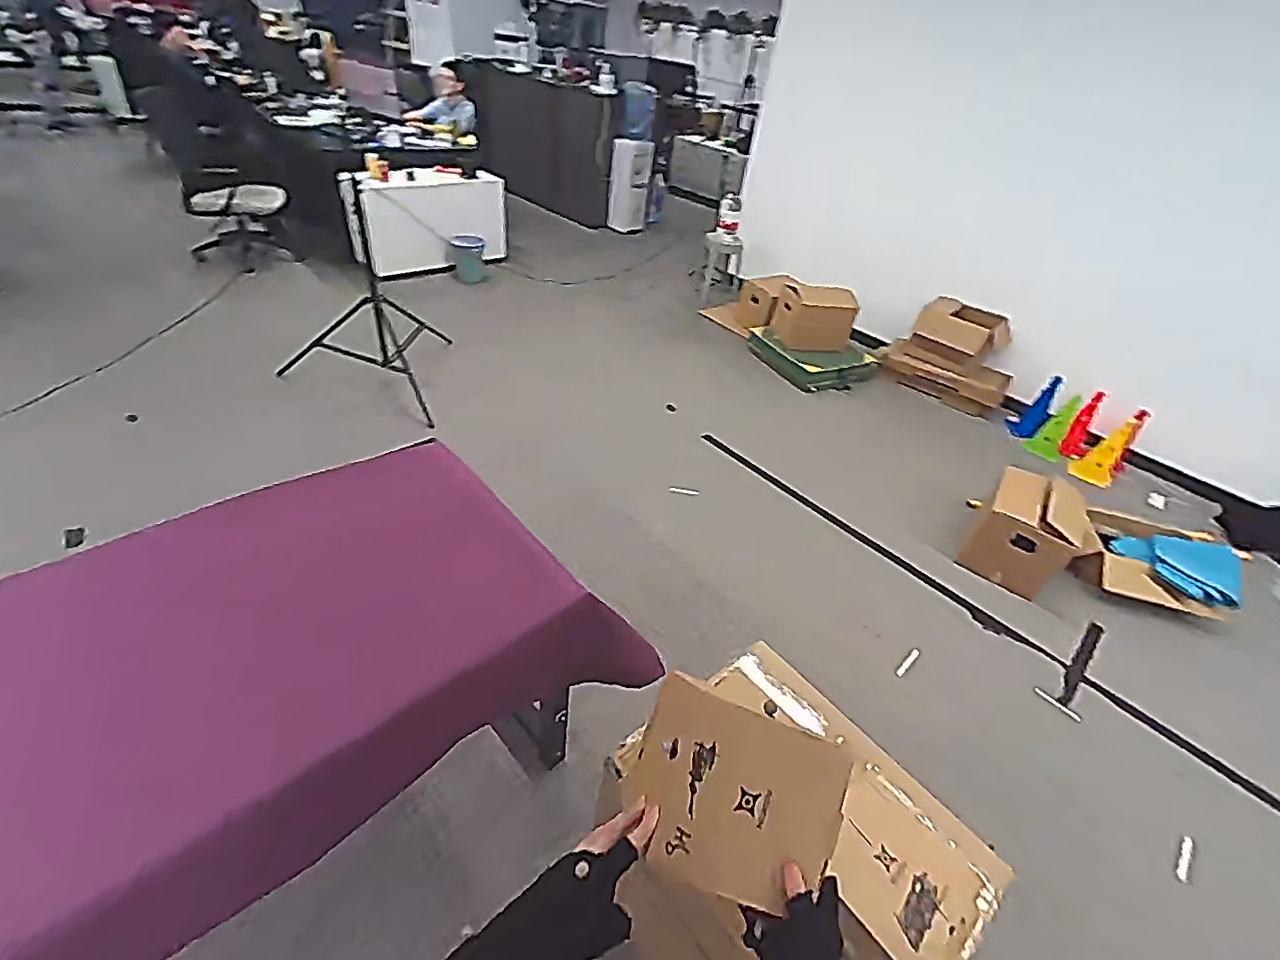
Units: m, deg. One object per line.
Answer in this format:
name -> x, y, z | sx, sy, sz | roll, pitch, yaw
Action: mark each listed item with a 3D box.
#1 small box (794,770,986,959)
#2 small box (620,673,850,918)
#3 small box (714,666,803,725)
small box -> 0.310, 0.545, 0.729 | 0.168, 0.176, 0.179 | -23, 47, -32
small box -> 0.094, 0.329, 0.604 | 0.179, 0.176, 0.168 | 23, 74, -5
small box -> 0.147, 0.436, 0.835 | 0.168, 0.176, 0.179 | -27, 53, -34
